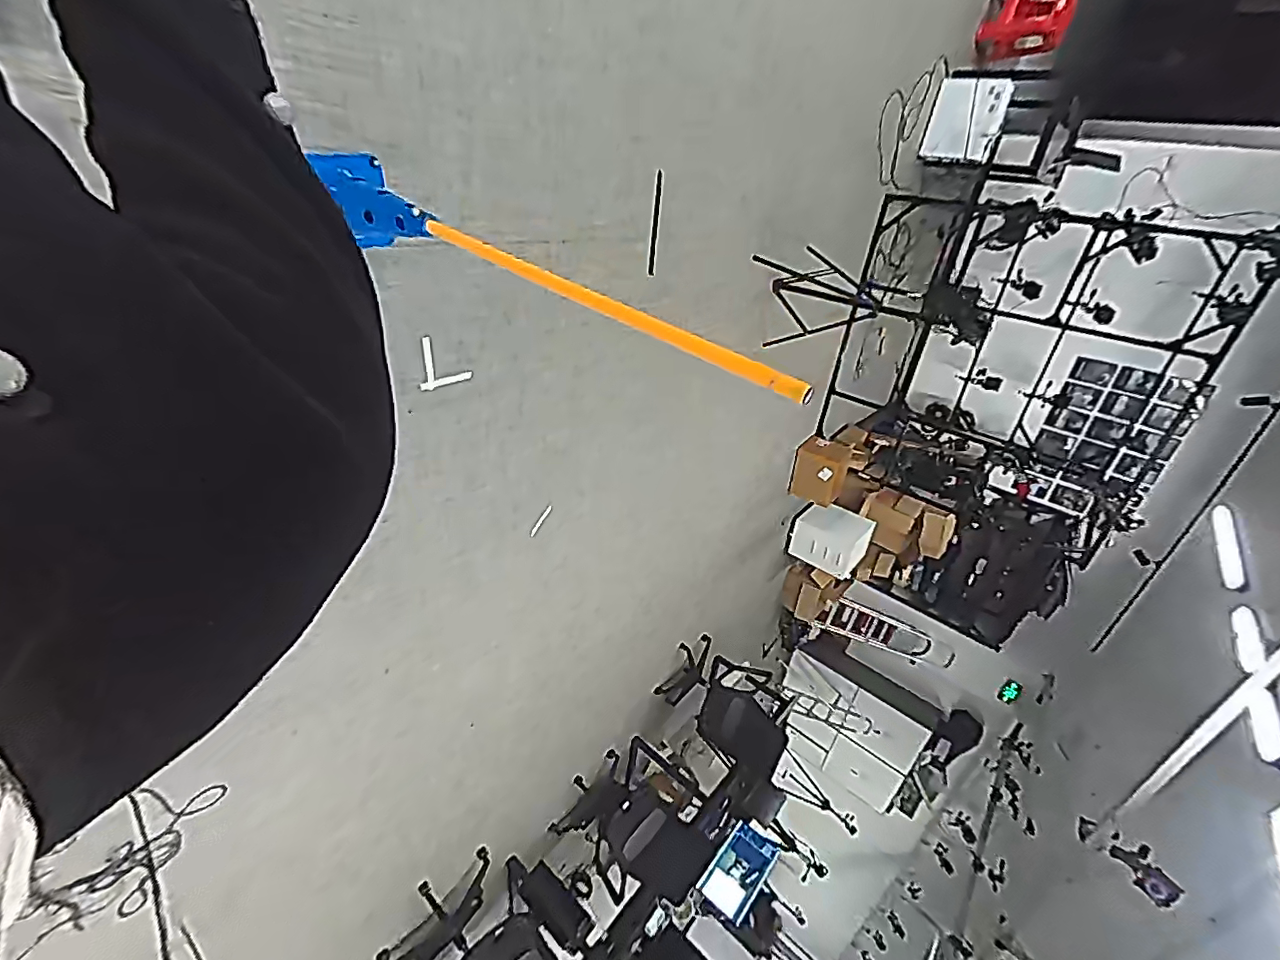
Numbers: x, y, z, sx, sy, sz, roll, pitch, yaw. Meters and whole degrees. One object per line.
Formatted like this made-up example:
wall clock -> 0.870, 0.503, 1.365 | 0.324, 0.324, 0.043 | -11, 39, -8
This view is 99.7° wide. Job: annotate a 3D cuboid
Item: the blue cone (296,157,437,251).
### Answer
blue cone -> -0.557, -0.580, 1.173 | 0.193, 0.380, 0.192 | -30, 135, -41
